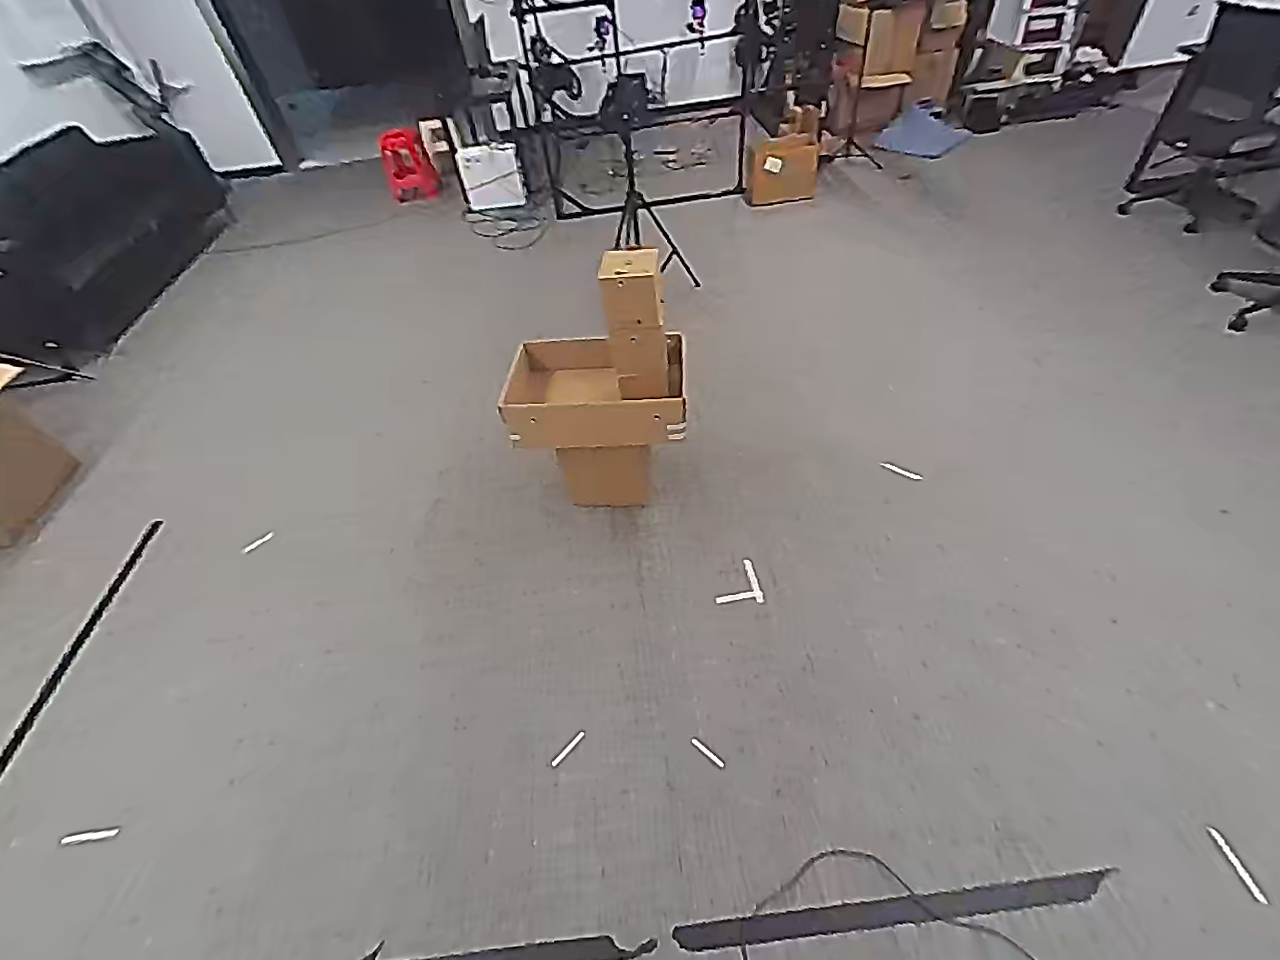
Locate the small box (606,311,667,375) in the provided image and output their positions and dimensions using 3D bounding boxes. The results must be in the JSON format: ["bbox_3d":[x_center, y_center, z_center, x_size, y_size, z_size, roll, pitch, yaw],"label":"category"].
[{"bbox_3d":[-0.008,-0.457,1.754,0.179,0.176,0.168,-5,46,4],"label":"small box"}]

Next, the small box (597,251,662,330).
[{"bbox_3d":[-0.025,-0.573,1.638,0.168,0.176,0.179,-1,46,9],"label":"small box"}]
